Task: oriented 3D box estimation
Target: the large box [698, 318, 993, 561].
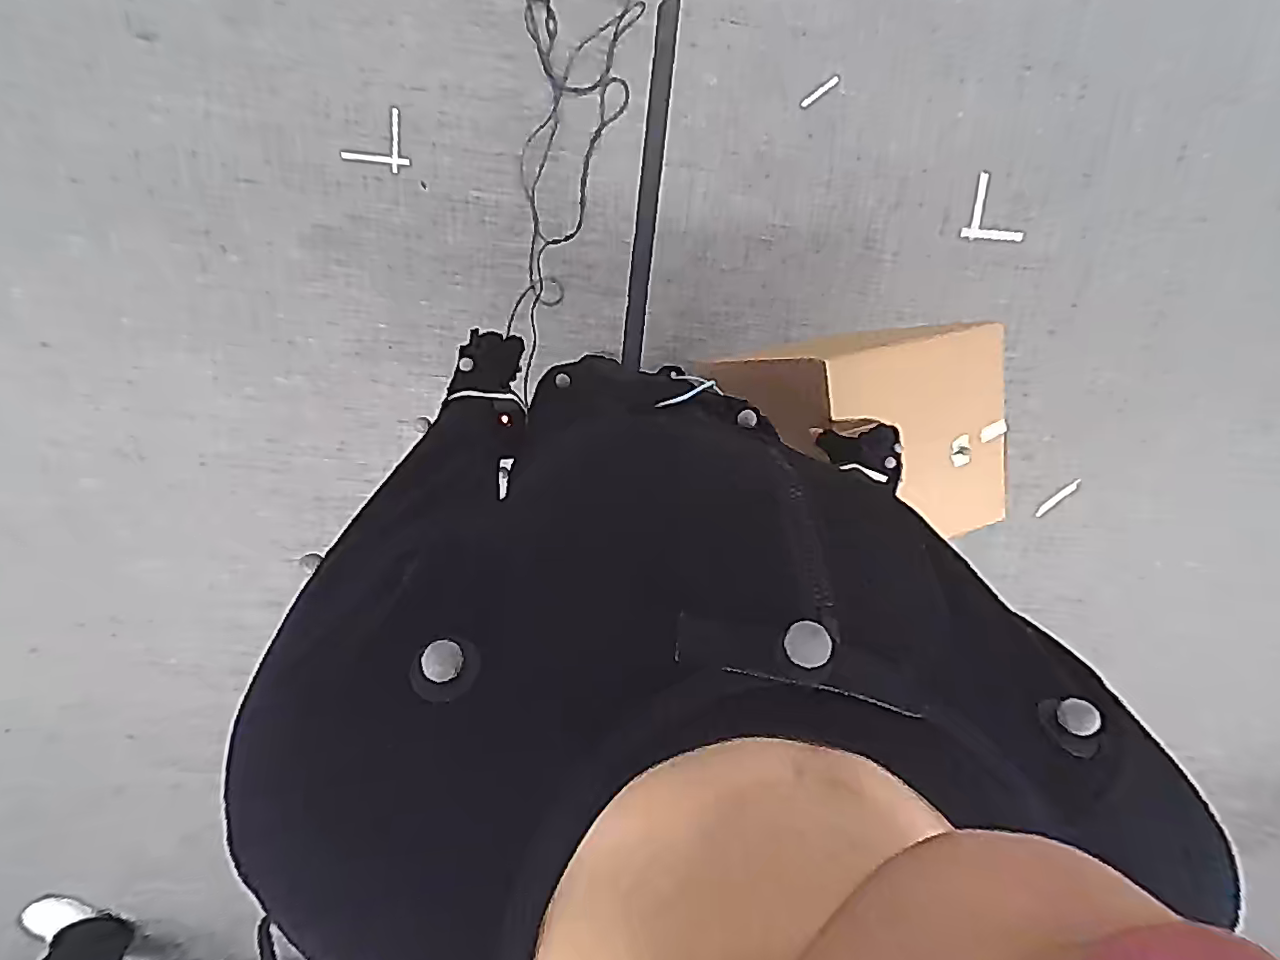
[{"bbox_3d":[0.347,-0.095,0.986,0.320,0.408,0.320,-14,105,-14],"label":"large box"}]
